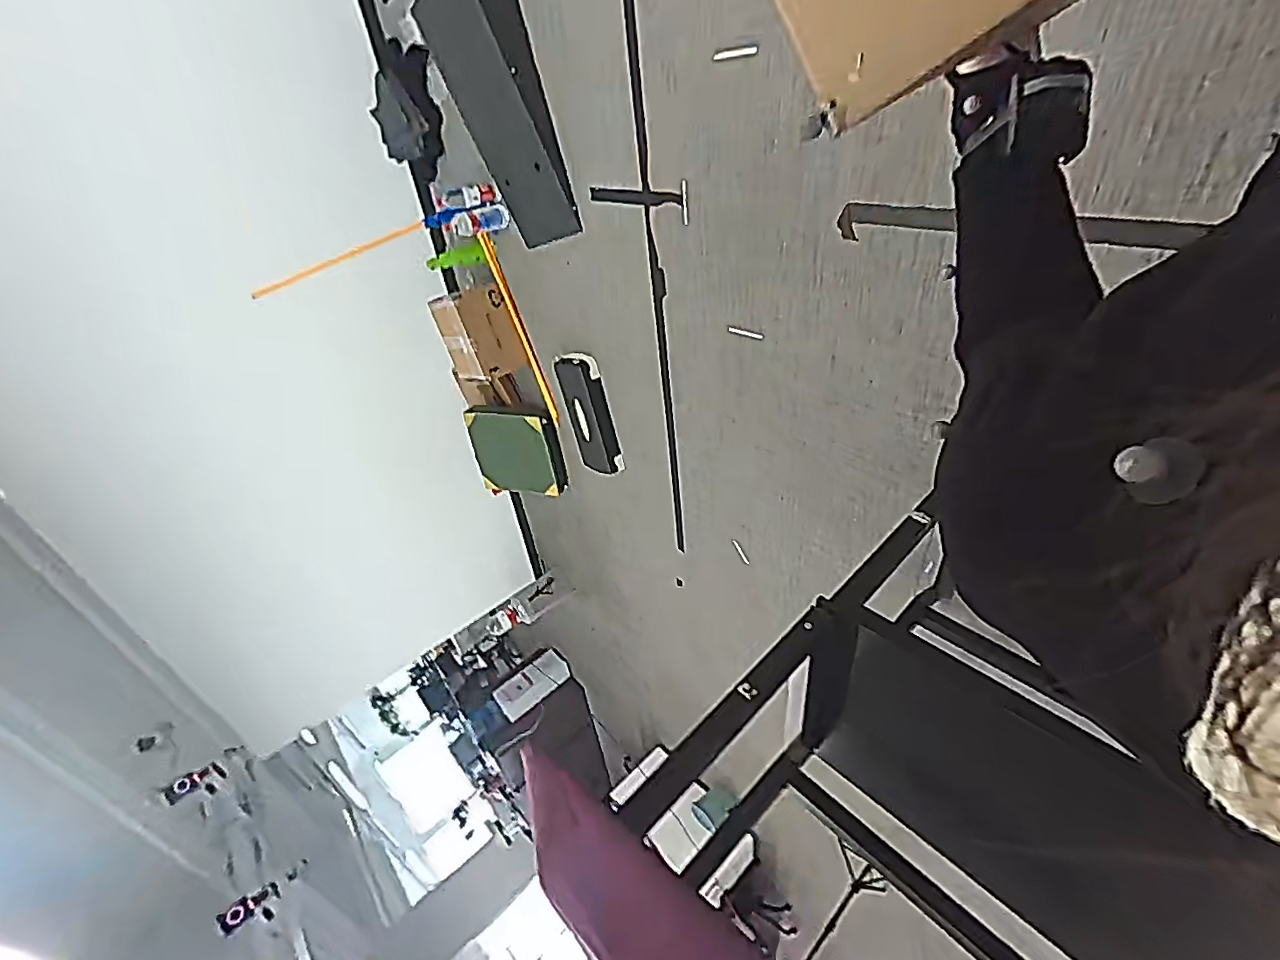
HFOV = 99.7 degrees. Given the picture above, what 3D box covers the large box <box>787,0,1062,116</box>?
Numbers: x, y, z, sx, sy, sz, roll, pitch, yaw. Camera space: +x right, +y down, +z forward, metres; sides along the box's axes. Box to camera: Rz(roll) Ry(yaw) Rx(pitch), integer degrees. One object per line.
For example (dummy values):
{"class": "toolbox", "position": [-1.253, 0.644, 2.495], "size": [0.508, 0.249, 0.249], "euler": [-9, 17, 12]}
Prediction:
{"class": "large box", "position": [0.242, -0.420, 0.158], "size": [0.408, 0.320, 0.320], "euler": [-1, 123, 60]}
